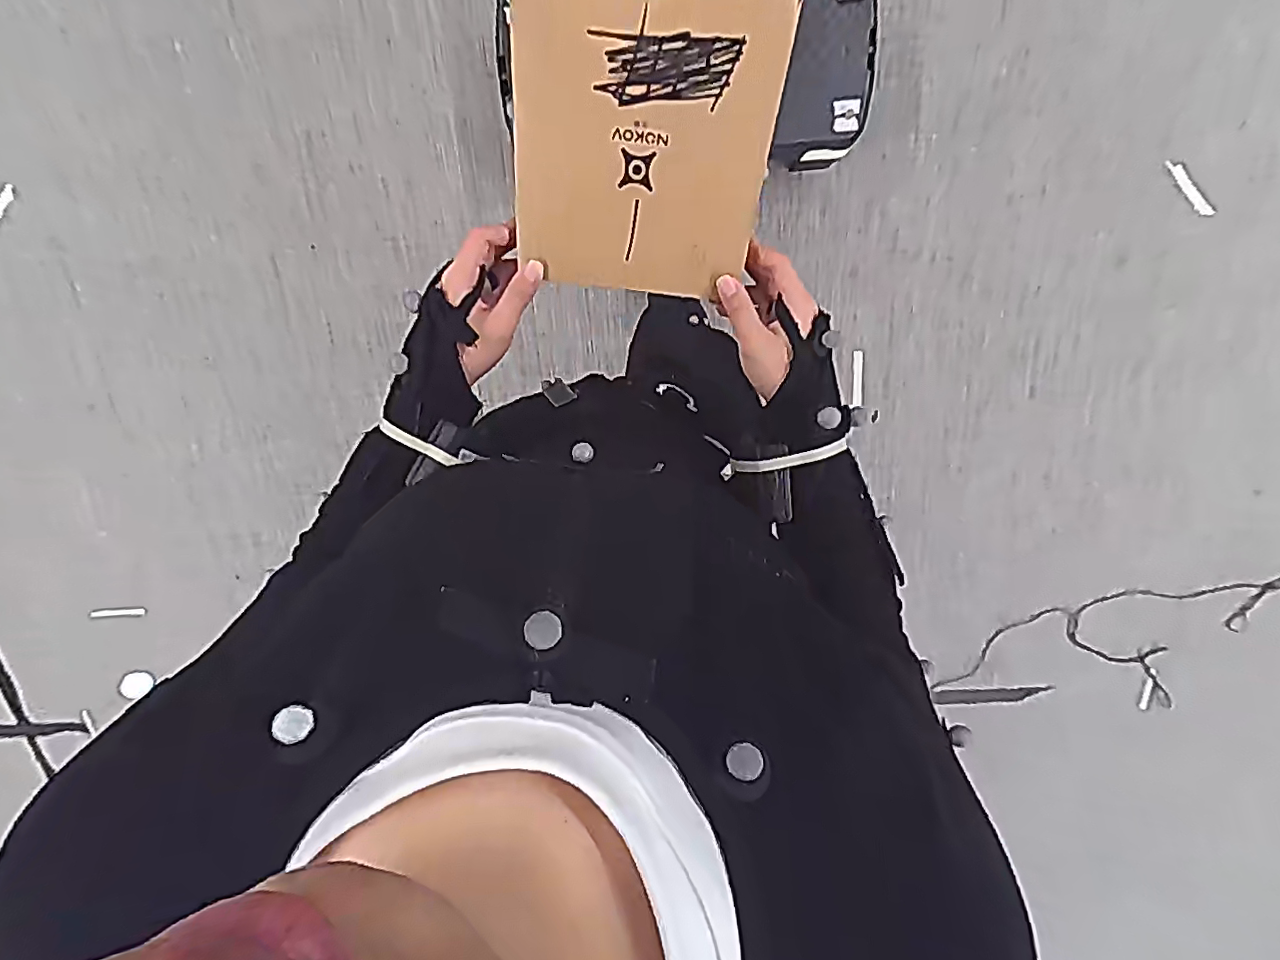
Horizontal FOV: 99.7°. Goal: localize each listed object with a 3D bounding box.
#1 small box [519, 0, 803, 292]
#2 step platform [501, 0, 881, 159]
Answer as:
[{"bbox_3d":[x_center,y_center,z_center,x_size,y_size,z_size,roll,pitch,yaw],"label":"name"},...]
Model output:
[{"bbox_3d":[0.005,-0.265,0.416,0.168,0.176,0.179,7,125,-2],"label":"small box"},{"bbox_3d":[0.090,-0.778,1.028,0.684,0.204,0.286,-3,107,2],"label":"step platform"}]
